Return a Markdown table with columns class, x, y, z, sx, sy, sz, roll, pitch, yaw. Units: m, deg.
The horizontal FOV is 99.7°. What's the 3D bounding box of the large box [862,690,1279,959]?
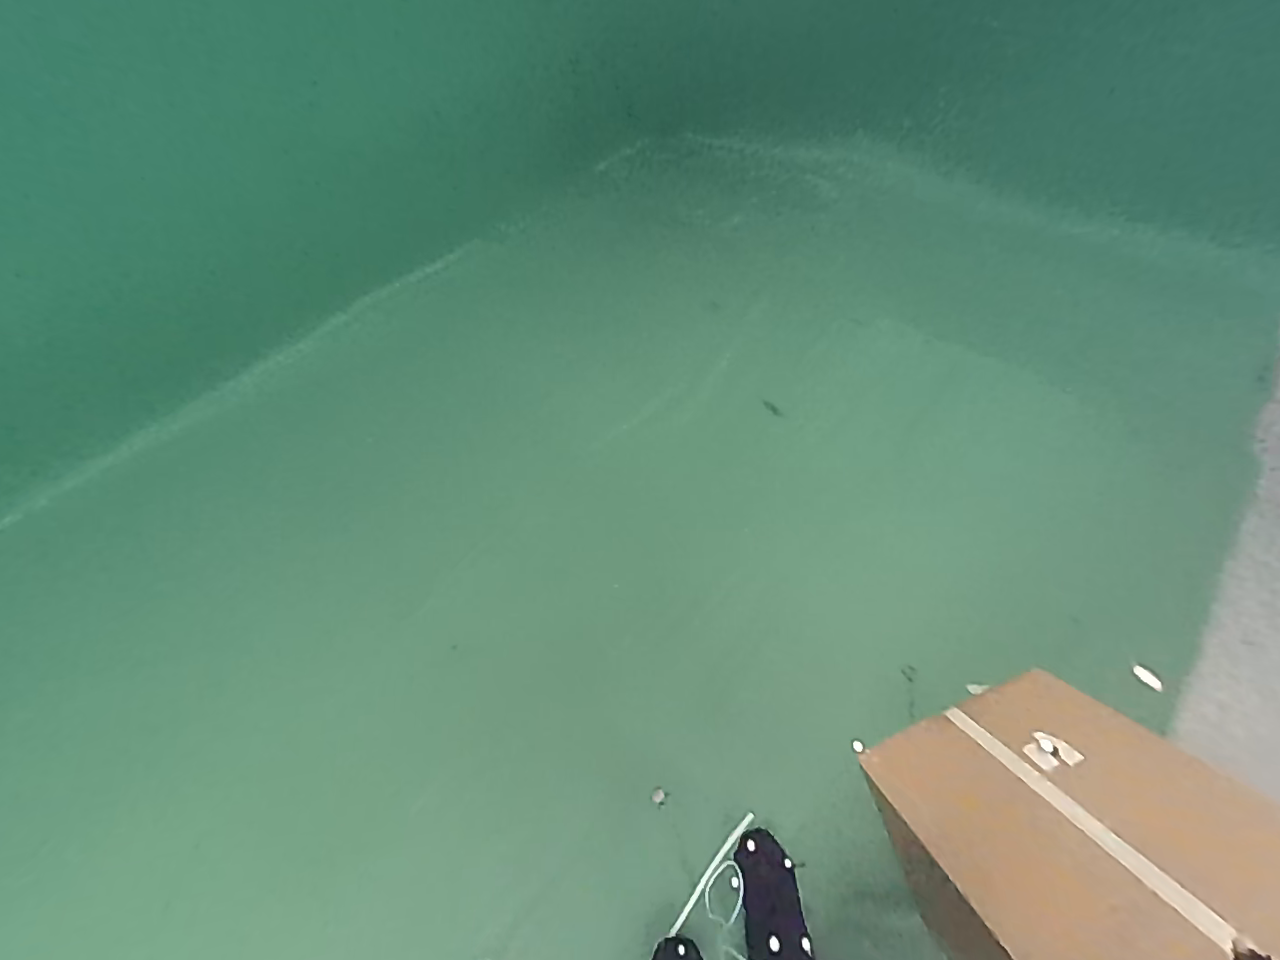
| class | x | y | z | sx | sy | sz | roll | pitch | yaw |
| --- | --- | --- | --- | --- | --- | --- | --- | --- | --- |
| large box | 0.547 | 0.535 | 0.637 | 0.320 | 0.408 | 0.320 | -23 | 99 | -2 |
